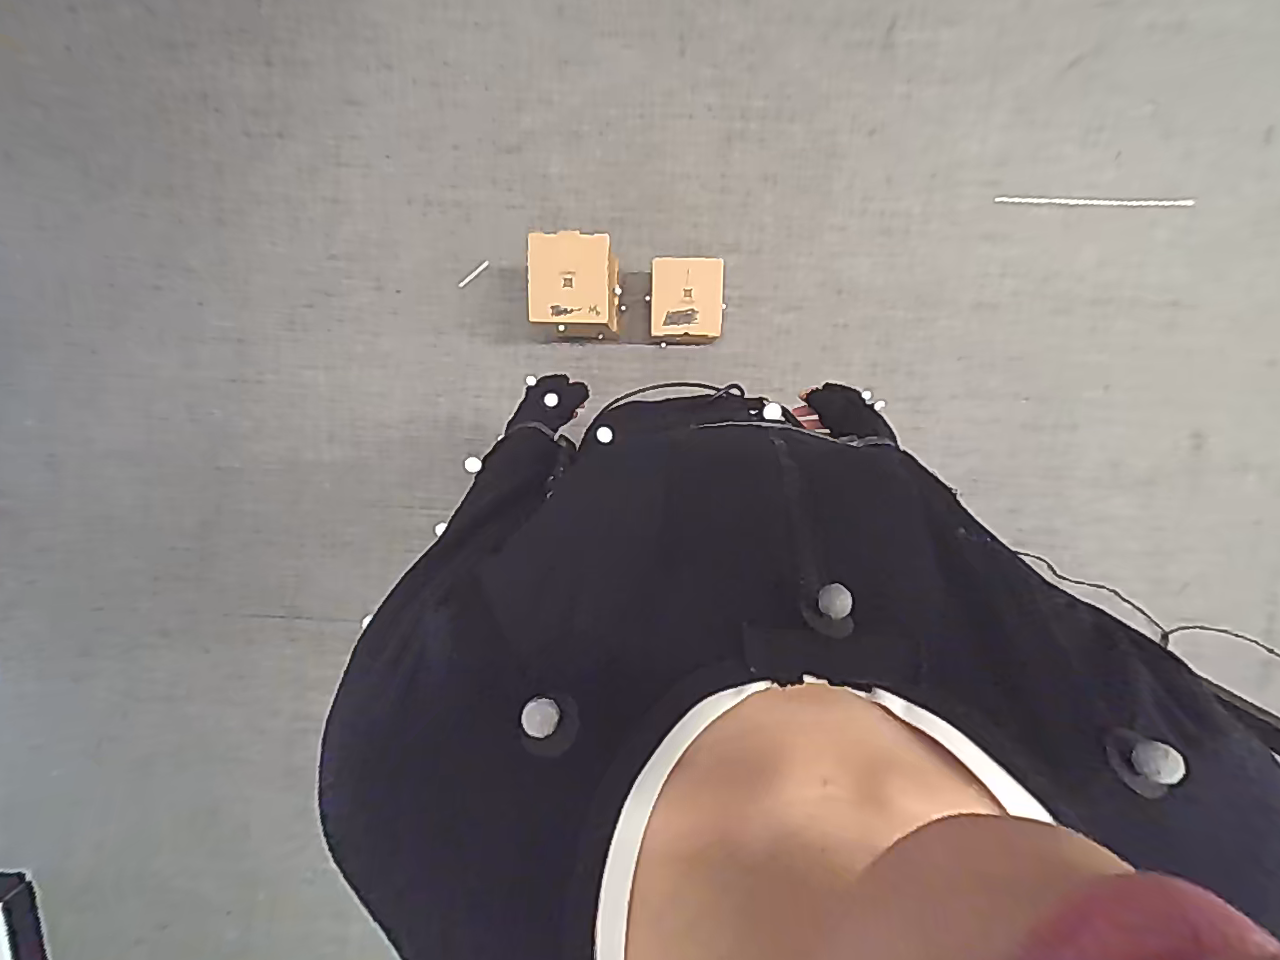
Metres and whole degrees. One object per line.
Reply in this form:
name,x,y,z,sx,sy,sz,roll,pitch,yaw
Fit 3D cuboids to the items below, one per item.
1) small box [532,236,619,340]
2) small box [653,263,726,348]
small box,-0.134,-0.409,1.173,0.168,0.176,0.179,3,97,1
small box,0.117,-0.420,1.326,0.168,0.176,0.179,2,97,1
